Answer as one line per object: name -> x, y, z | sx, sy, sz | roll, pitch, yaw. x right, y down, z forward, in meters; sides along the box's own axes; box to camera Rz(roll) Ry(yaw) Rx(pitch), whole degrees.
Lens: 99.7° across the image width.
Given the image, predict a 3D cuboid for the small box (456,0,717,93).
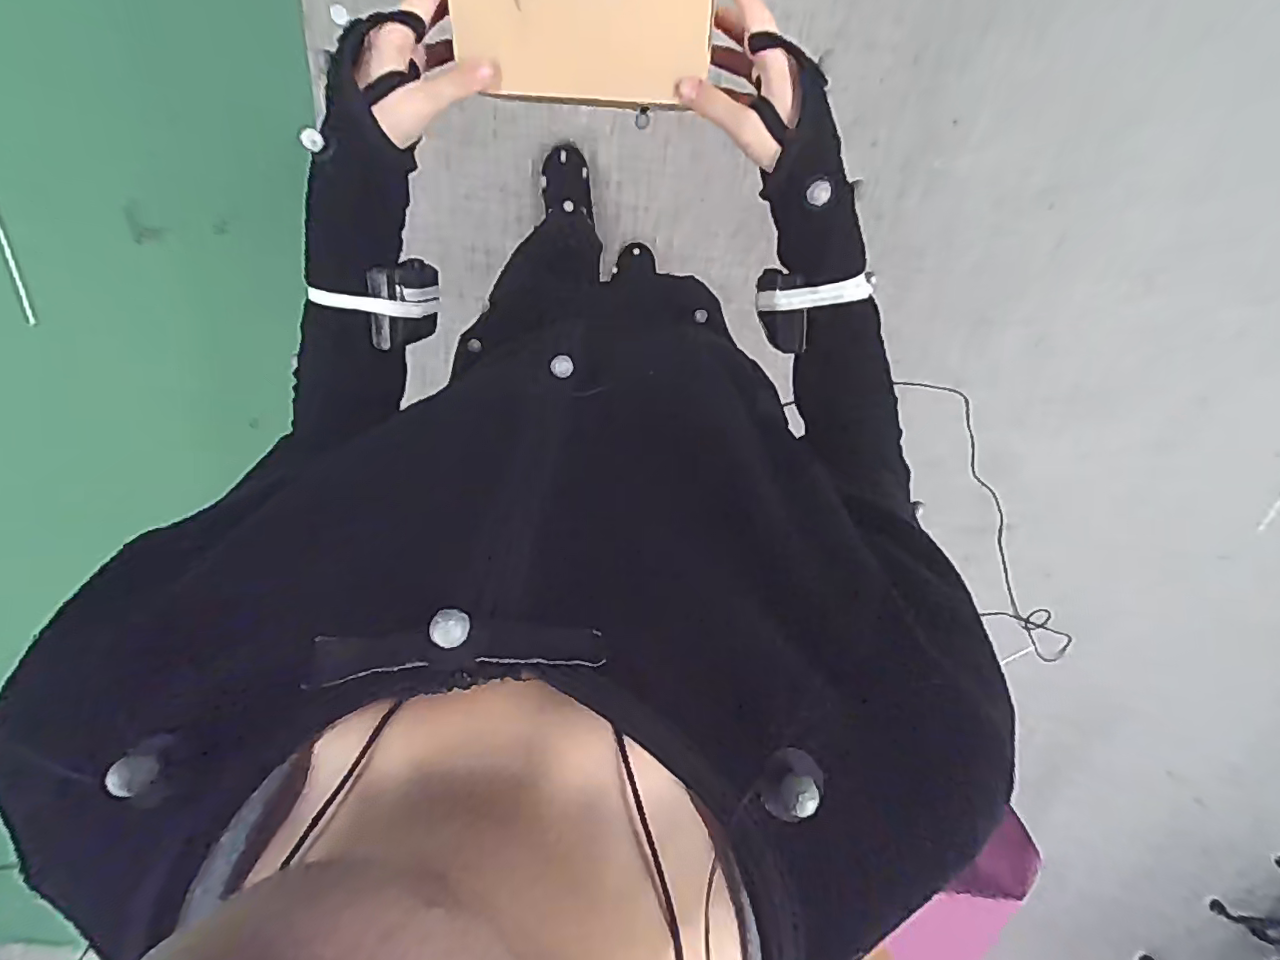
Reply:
small box -> -0.035, -0.399, 0.404 | 0.179, 0.176, 0.168 | 3, 122, -2
